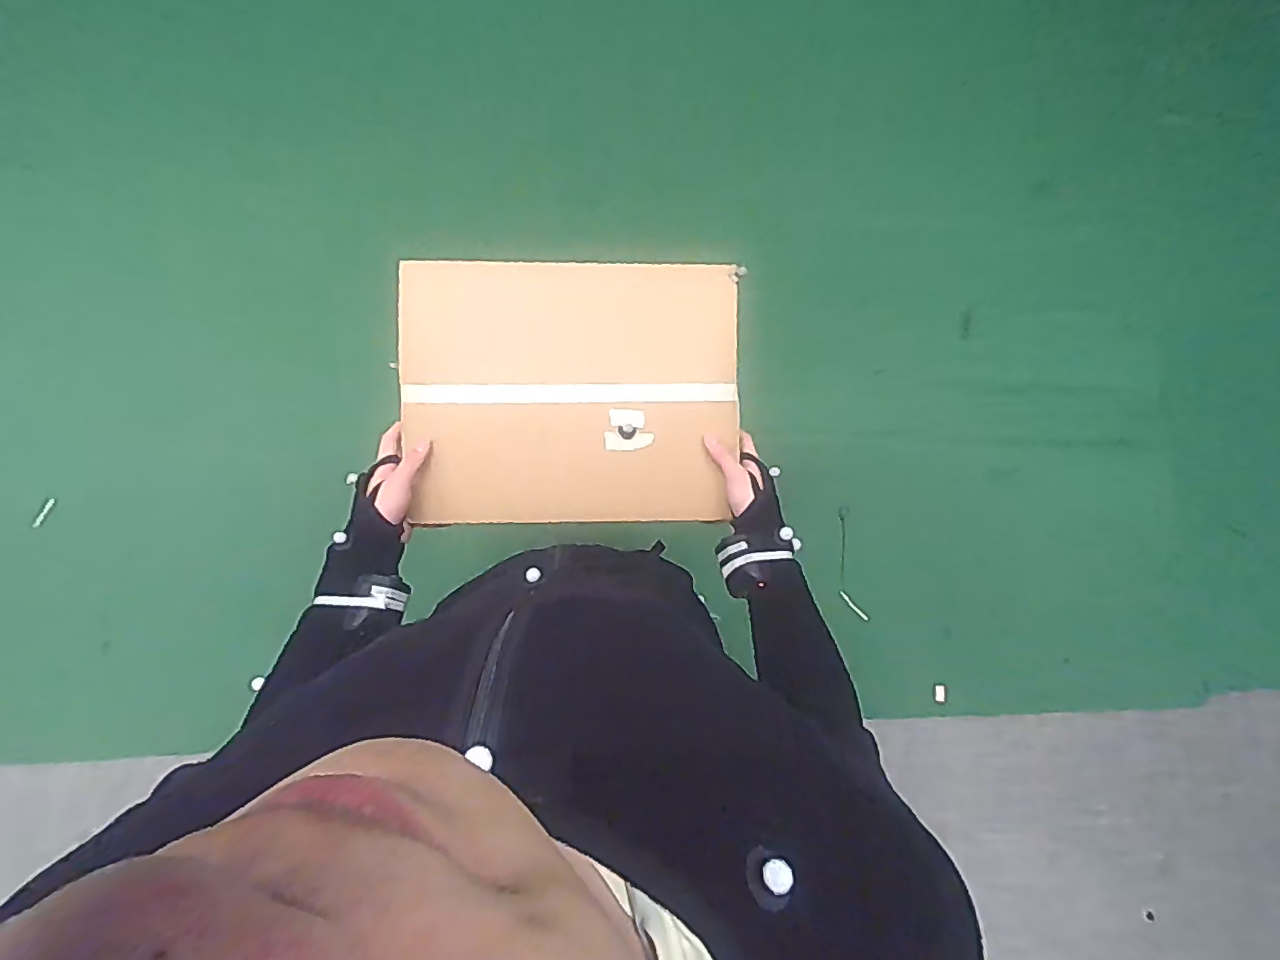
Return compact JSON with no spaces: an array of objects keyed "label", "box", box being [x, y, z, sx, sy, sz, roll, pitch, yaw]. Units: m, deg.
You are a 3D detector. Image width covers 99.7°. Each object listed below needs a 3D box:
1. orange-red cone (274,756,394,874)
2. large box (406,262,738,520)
[{"label":"orange-red cone","box":[-0.794,0.864,1.351,0.199,0.360,0.198,7,82,-3]},{"label":"large box","box":[-0.090,-0.115,0.810,0.408,0.320,0.320,-1,93,-4]}]
